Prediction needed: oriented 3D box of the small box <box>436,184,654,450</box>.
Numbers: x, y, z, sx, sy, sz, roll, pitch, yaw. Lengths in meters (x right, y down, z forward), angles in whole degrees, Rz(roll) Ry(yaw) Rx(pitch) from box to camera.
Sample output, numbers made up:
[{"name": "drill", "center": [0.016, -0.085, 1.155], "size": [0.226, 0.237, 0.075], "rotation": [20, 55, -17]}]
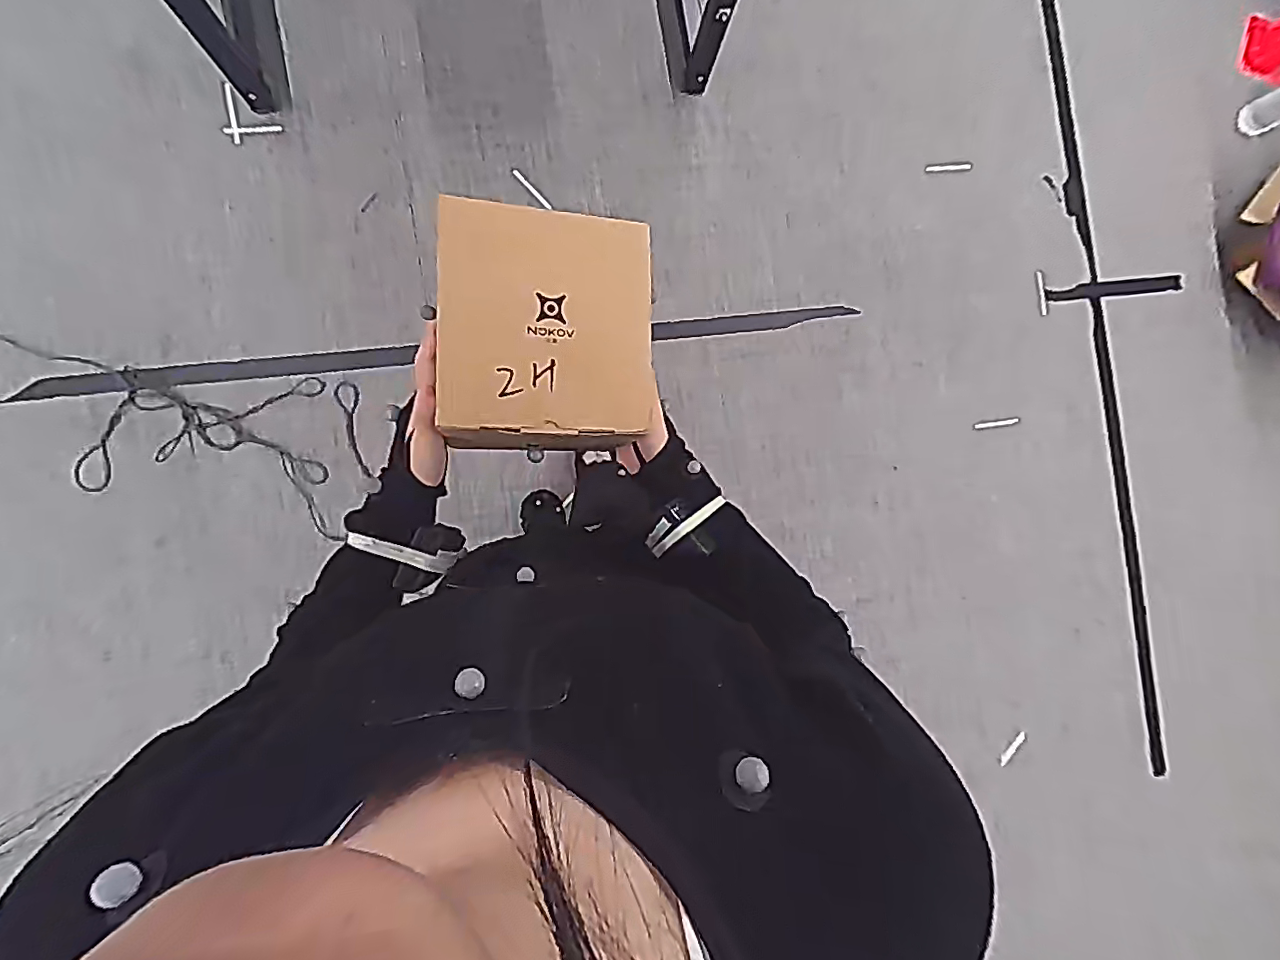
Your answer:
[{"name": "small box", "center": [-0.090, -0.126, 0.490], "size": [0.168, 0.176, 0.179], "rotation": [1, 87, -16]}]
